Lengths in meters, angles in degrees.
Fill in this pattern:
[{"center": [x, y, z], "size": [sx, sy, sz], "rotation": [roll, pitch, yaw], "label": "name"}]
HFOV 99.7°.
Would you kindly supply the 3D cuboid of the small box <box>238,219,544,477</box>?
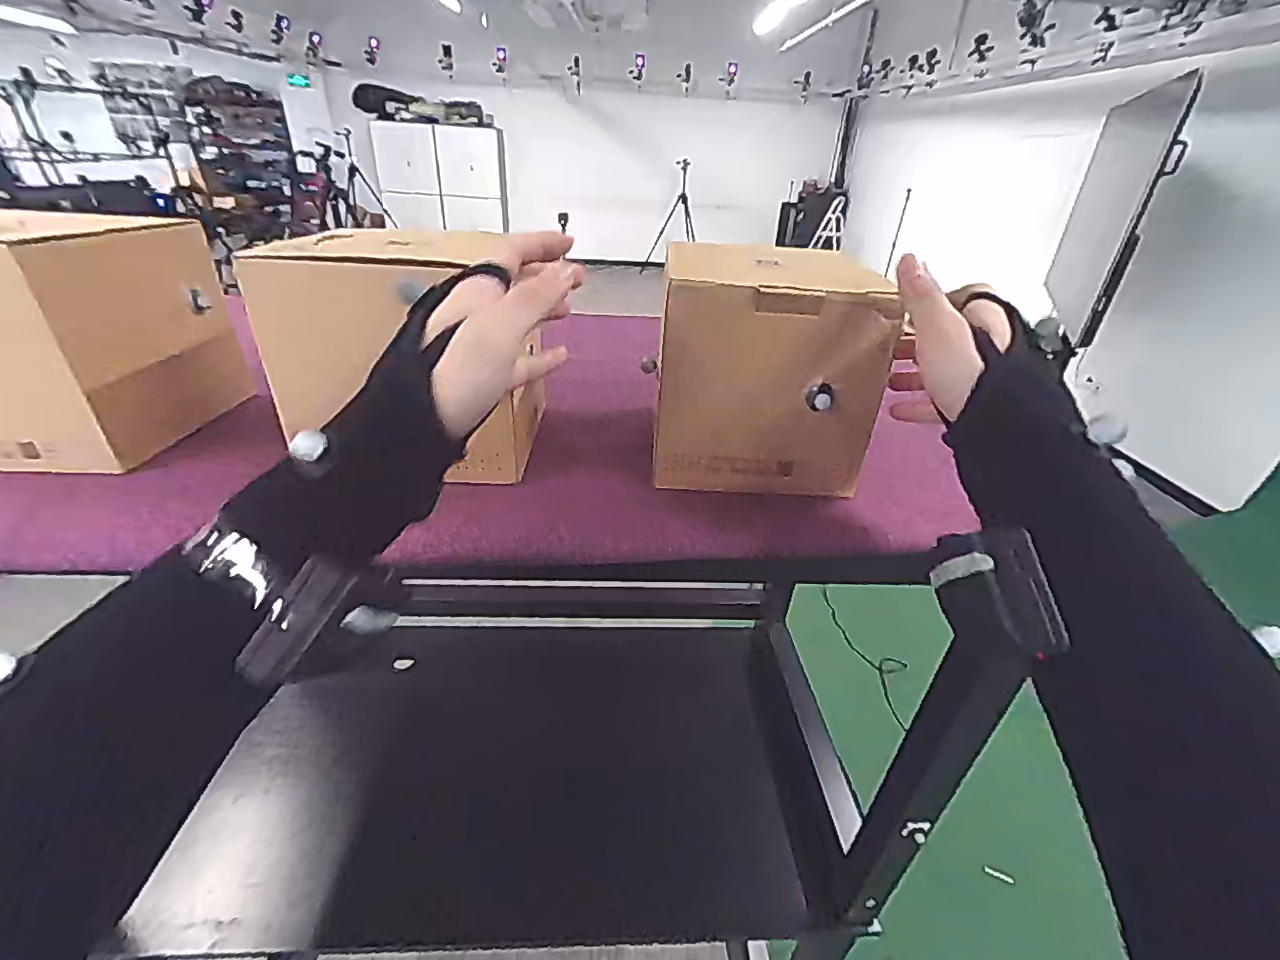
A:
[{"center": [-0.177, -0.114, 0.456], "size": [0.179, 0.176, 0.168], "rotation": [2, 30, -4], "label": "small box"}]
